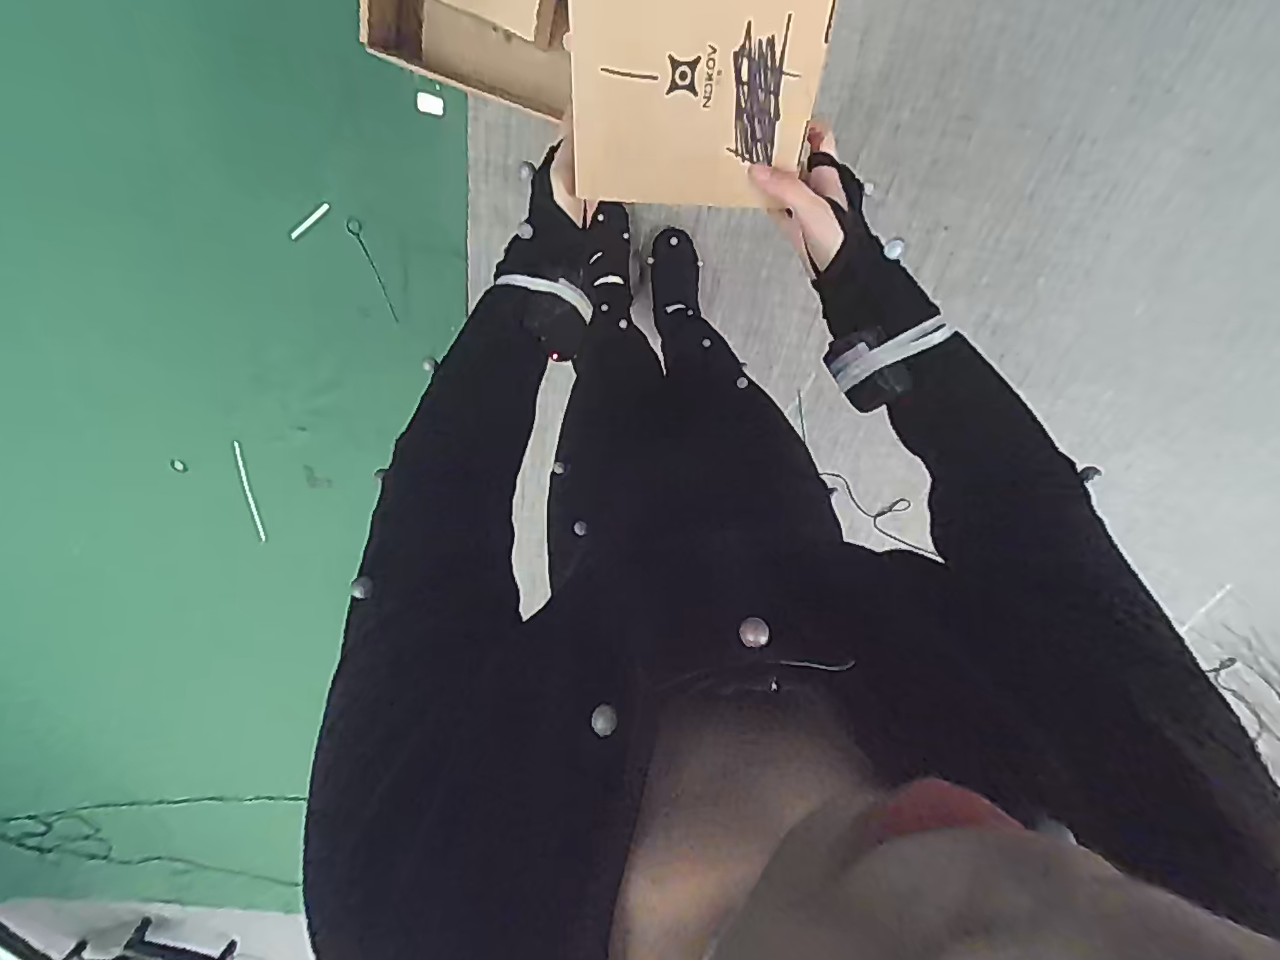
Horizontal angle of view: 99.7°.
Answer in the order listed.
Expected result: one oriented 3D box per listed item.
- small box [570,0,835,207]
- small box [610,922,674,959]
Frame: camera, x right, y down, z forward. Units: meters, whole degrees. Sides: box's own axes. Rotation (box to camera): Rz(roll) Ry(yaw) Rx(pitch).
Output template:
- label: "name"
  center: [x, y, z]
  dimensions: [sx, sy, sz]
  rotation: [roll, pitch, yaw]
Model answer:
- label: "small box"
  center: [0.038, -0.339, 0.438]
  dimensions: [0.179, 0.176, 0.168]
  rotation: [3, 133, -1]
- label: "small box"
  center: [0.003, 1.393, 1.536]
  dimensions: [0.168, 0.176, 0.179]
  rotation: [7, 124, -6]
